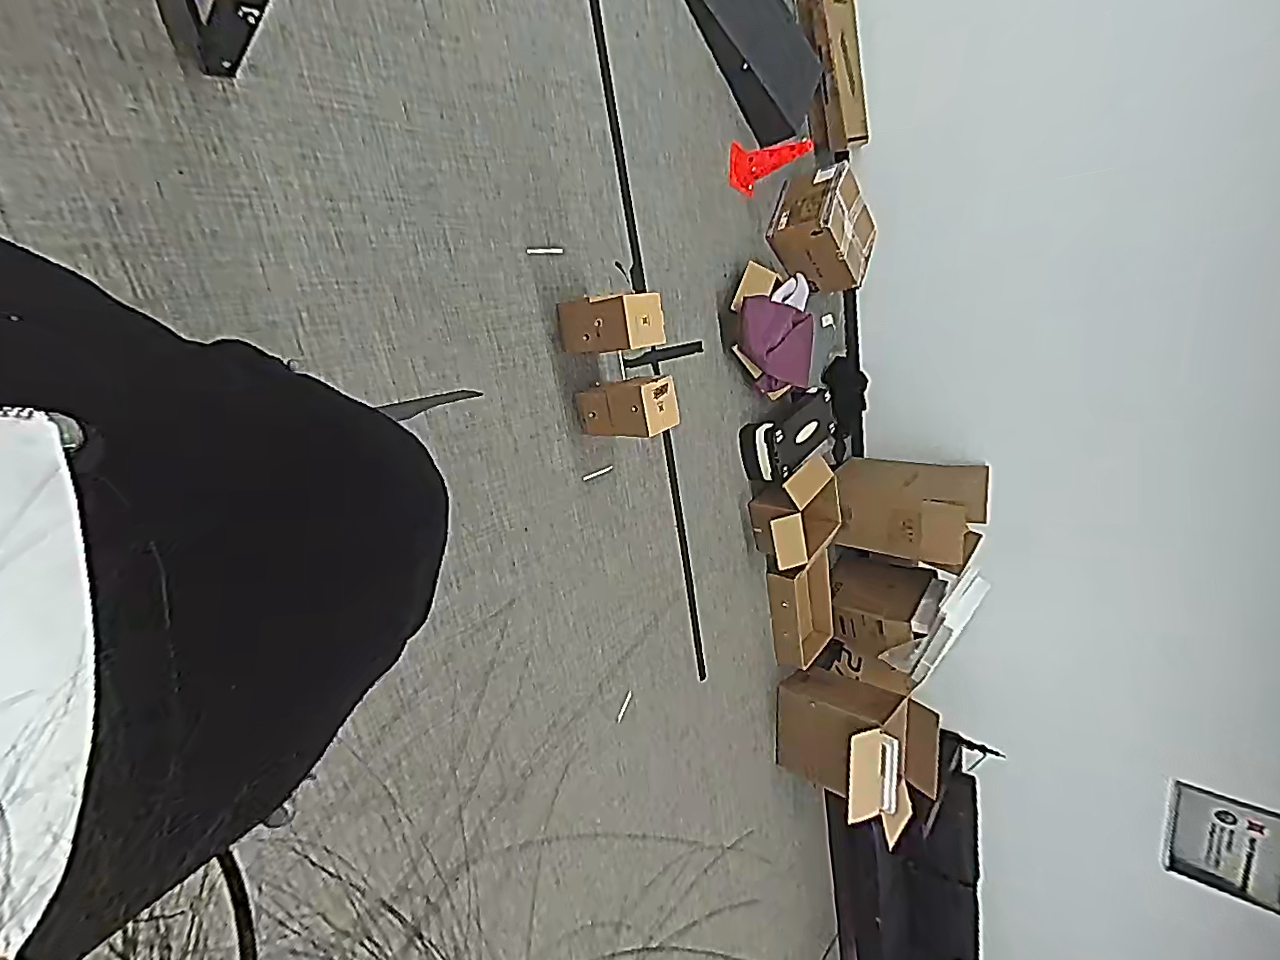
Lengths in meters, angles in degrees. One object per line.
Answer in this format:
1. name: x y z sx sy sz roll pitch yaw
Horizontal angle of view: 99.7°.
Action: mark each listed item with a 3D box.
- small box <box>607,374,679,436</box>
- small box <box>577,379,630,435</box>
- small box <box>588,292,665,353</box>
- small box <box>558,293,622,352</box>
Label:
1. small box: 0.007 -0.257 1.854 0.168 0.176 0.179 -28 115 -41
2. small box: -0.110 -0.266 1.971 0.179 0.176 0.168 -28 115 -40
3. small box: -0.045 -0.514 1.768 0.179 0.176 0.168 -23 110 -42
4. small box: -0.163 -0.544 1.877 0.168 0.176 0.179 -24 112 -43
